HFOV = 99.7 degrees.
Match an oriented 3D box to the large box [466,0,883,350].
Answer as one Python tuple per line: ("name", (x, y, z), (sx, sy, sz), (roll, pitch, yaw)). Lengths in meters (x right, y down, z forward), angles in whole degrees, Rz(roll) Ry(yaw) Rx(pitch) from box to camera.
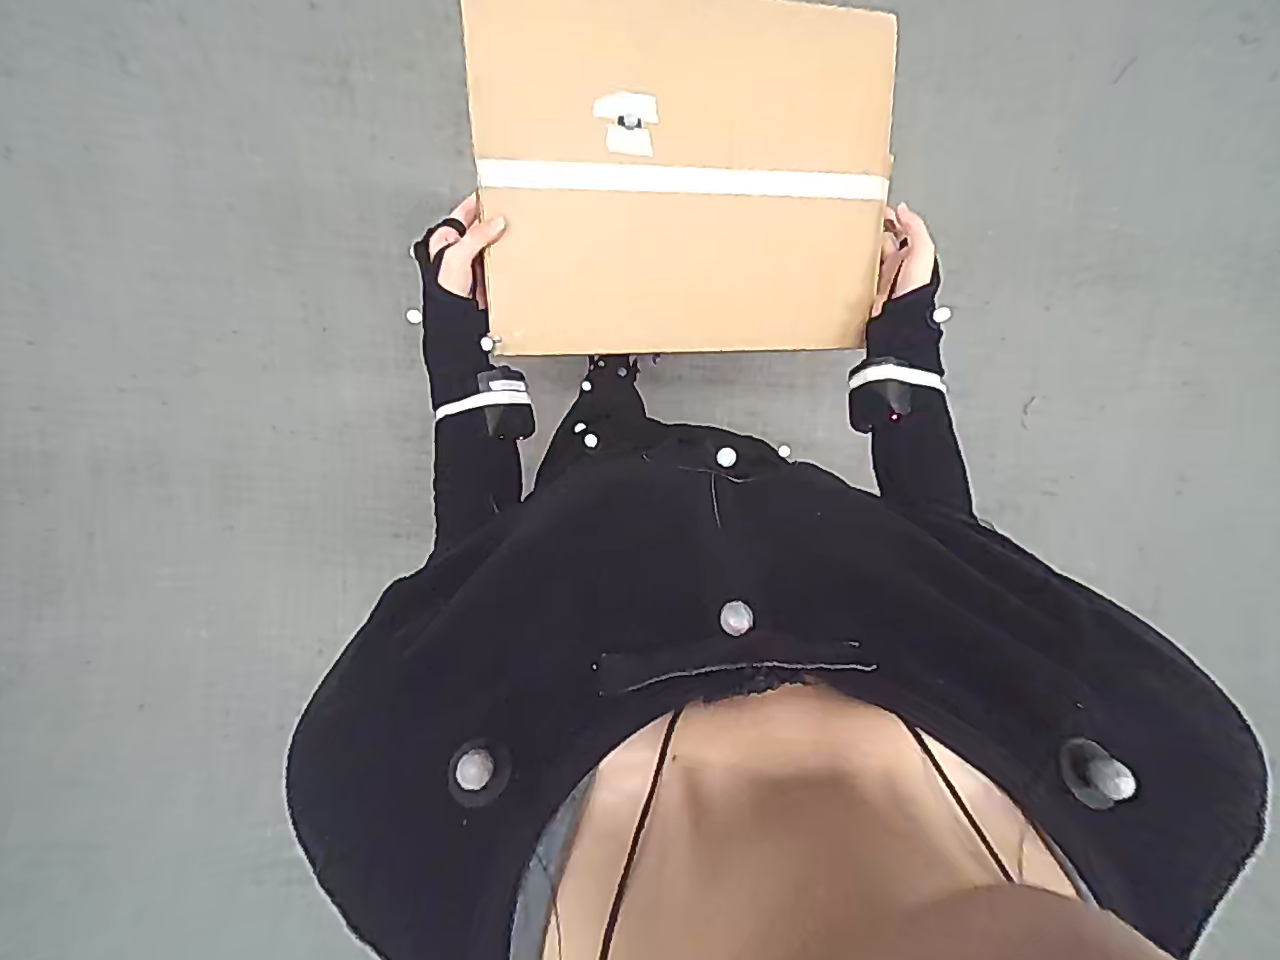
("large box", (0.021, -0.330, 0.675), (0.408, 0.320, 0.320), (-3, 104, -11))
